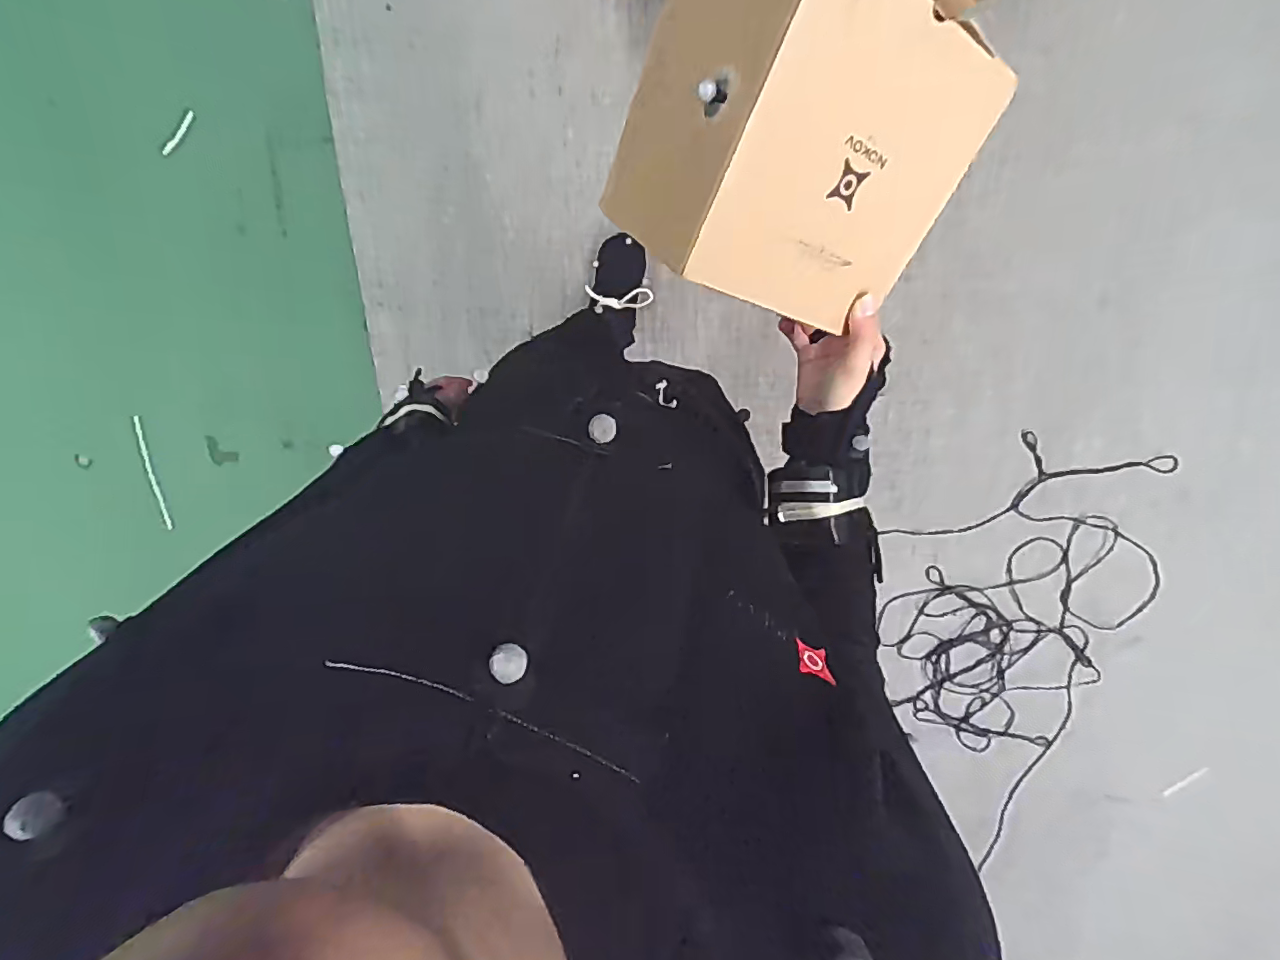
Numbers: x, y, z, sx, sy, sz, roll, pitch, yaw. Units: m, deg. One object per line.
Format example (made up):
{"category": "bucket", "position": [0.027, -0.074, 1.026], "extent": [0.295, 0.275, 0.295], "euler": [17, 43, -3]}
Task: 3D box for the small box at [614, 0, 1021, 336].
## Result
{"category": "small box", "position": [0.101, -0.234, 0.380], "extent": [0.168, 0.176, 0.179], "euler": [9, 123, -32]}
